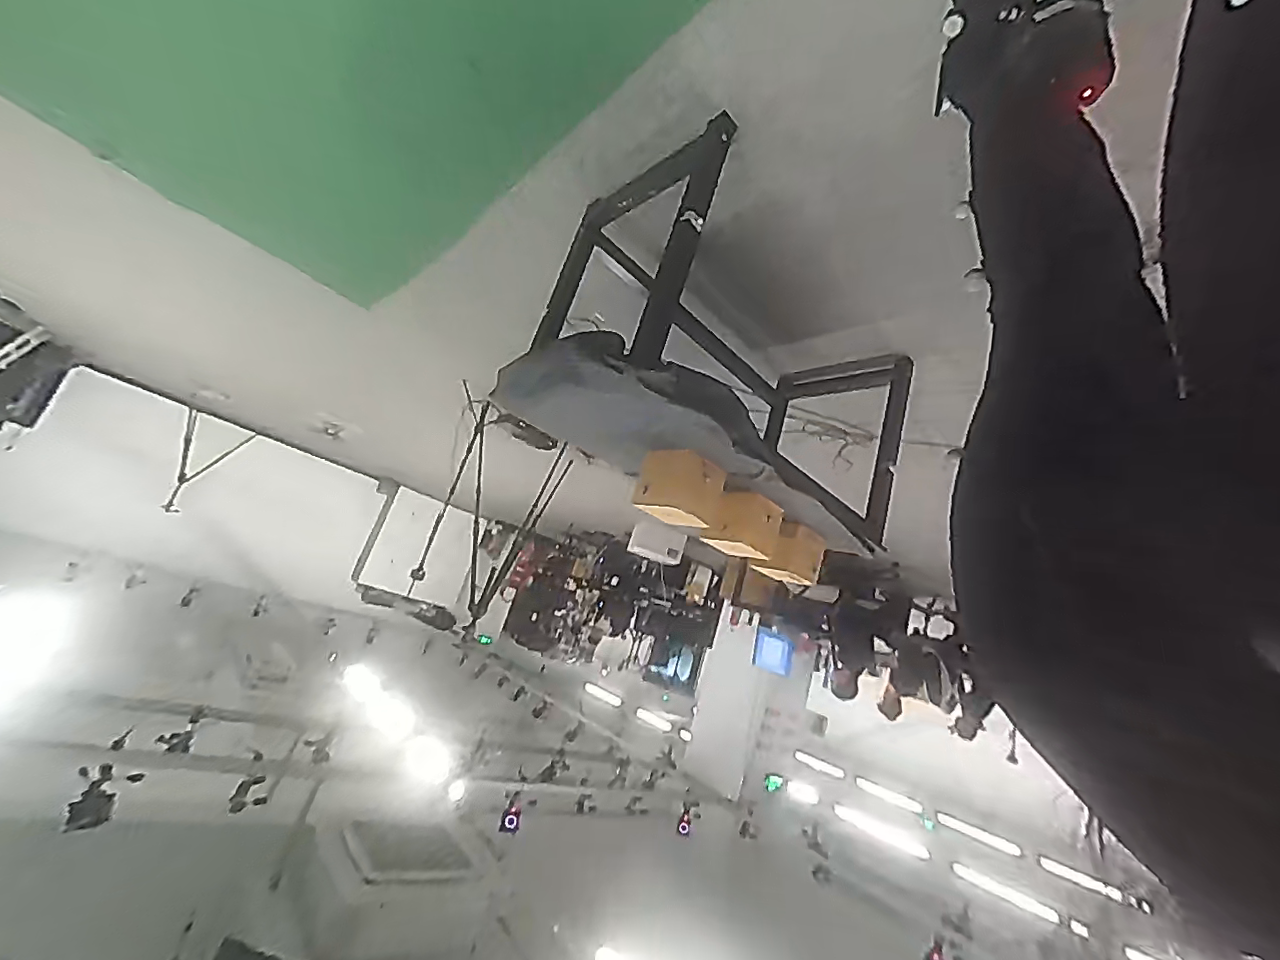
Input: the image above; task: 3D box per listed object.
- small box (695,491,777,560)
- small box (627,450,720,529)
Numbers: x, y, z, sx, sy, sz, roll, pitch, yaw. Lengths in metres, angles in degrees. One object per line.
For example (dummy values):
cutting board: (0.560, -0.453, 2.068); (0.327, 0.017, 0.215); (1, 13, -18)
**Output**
small box: (0.305, 0.138, 1.695); (0.168, 0.176, 0.179); (30, 160, -38)
small box: (0.098, 0.025, 1.512); (0.179, 0.176, 0.168); (0, 158, 47)
